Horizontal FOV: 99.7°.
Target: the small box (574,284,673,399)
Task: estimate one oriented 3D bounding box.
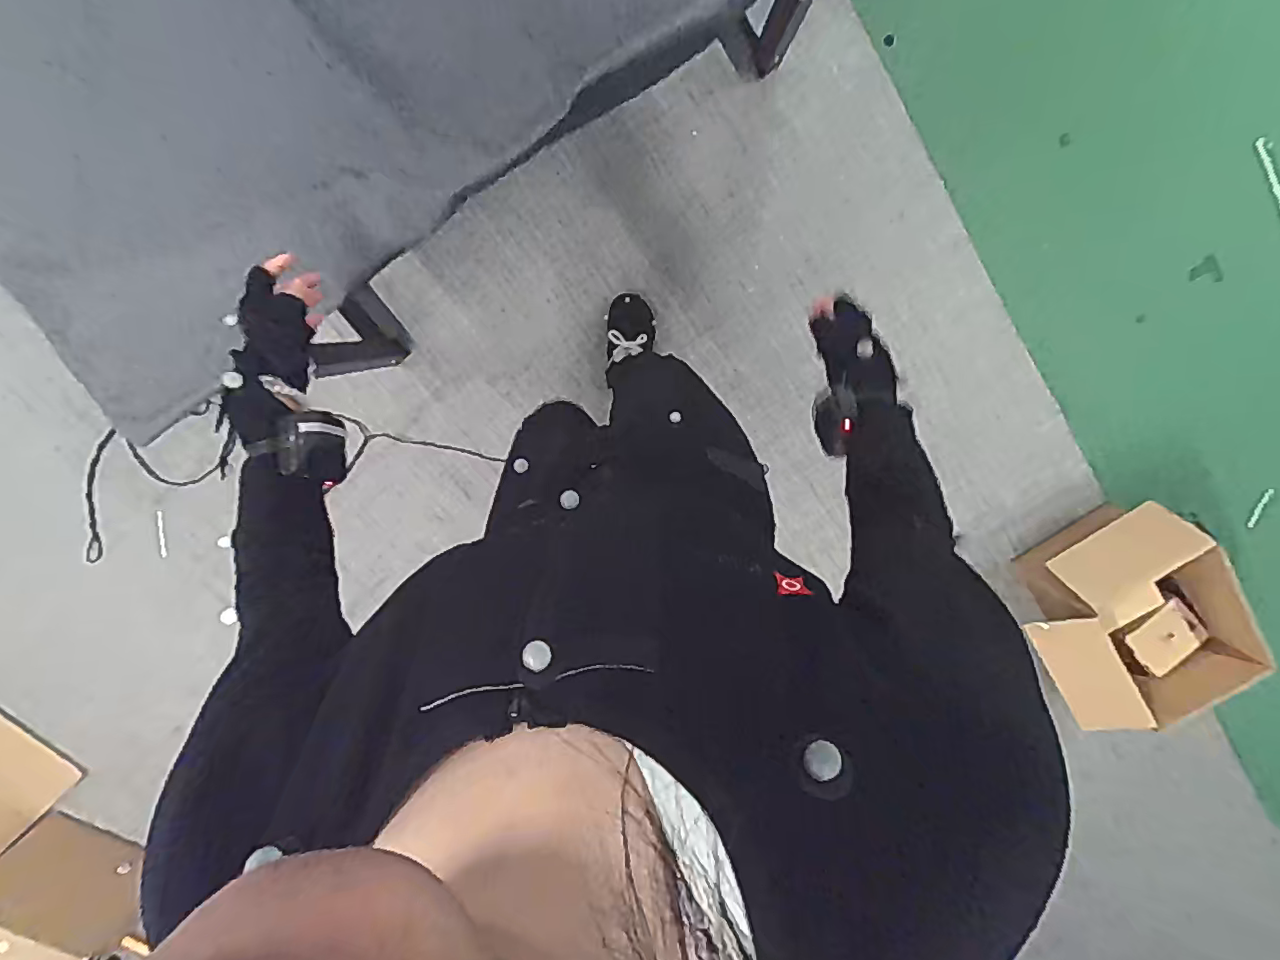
[{"bbox_3d":[-0.035,-0.334,1.329,0.179,0.176,0.168,-44,73,-10],"label":"small box"}]
